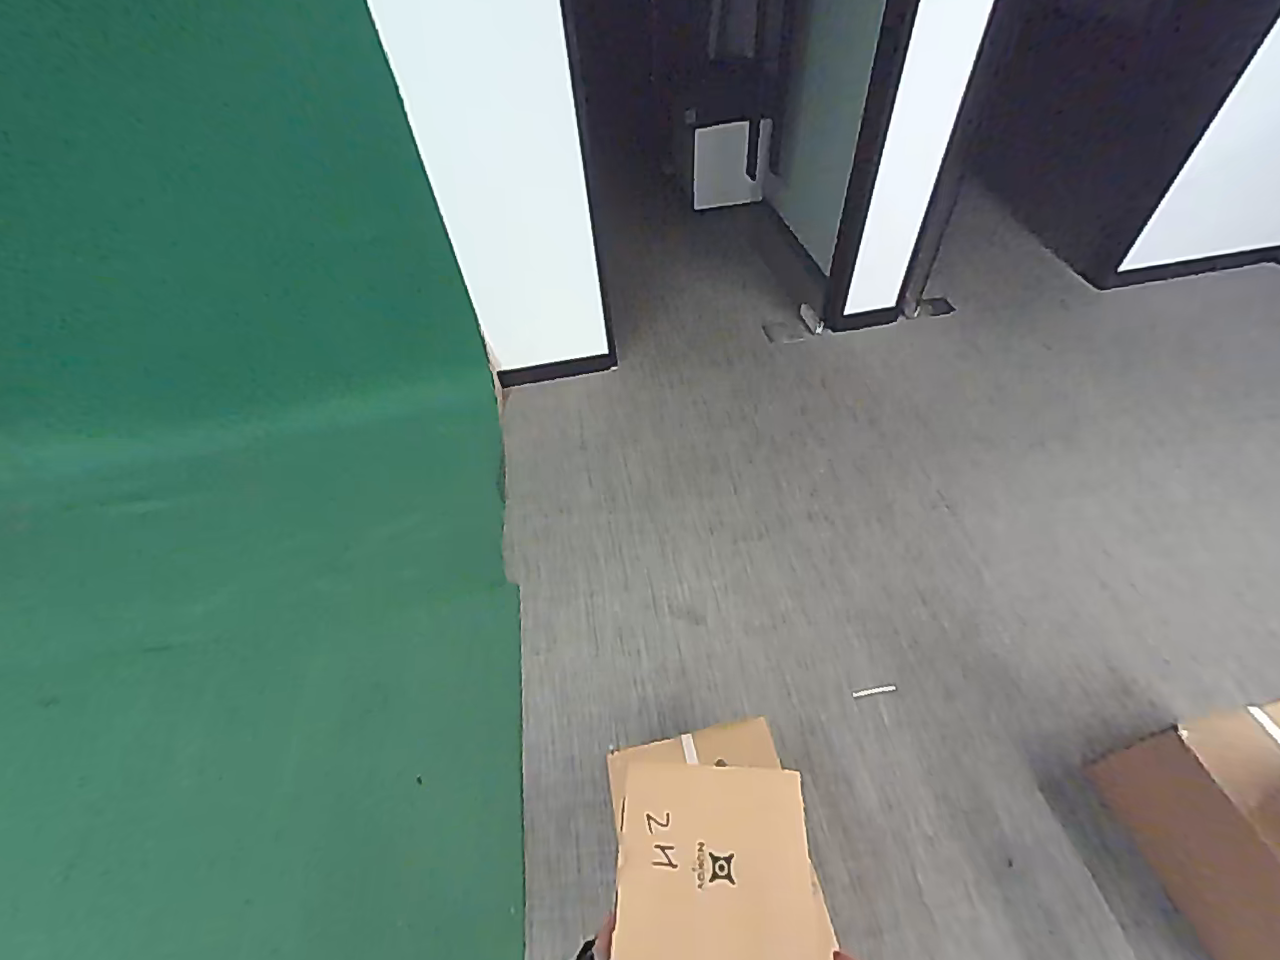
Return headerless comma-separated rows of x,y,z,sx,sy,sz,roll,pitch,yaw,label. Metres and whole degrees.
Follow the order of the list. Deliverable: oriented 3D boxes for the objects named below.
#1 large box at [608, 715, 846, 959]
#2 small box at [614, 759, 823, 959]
0.141,0.728,1.022,0.320,0.320,0.408,-11,49,-3,large box
0.077,0.401,0.556,0.179,0.176,0.168,-1,50,7,small box
